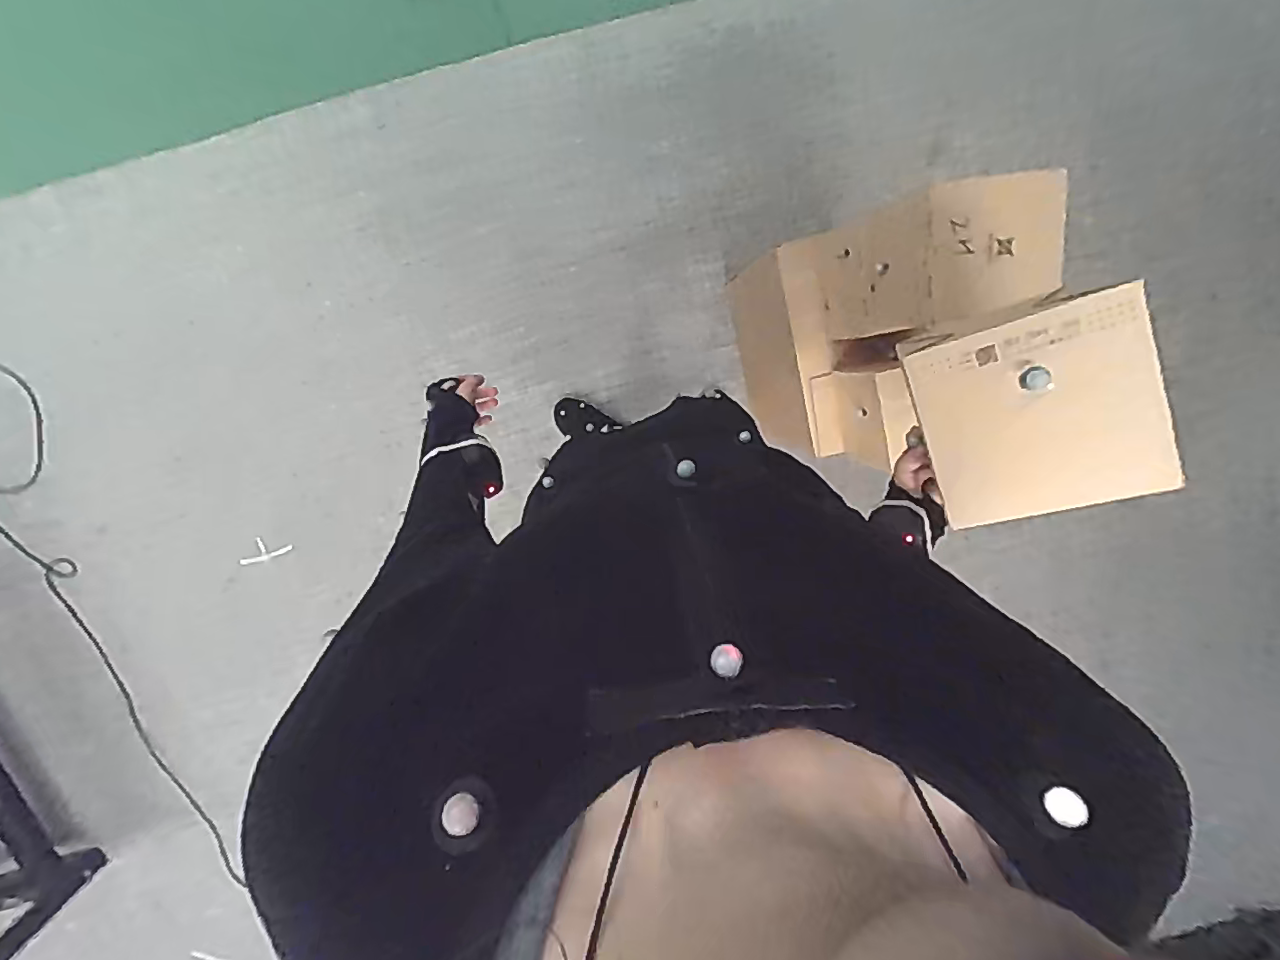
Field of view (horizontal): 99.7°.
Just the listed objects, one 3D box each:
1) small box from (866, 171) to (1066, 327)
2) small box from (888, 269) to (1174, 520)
[{"bbox_3d":[0.439,-0.309,0.753,0.179,0.176,0.168,-7,103,-2],"label":"small box"},{"bbox_3d":[0.347,-0.085,0.514,0.168,0.179,0.176,-18,99,28],"label":"small box"}]
